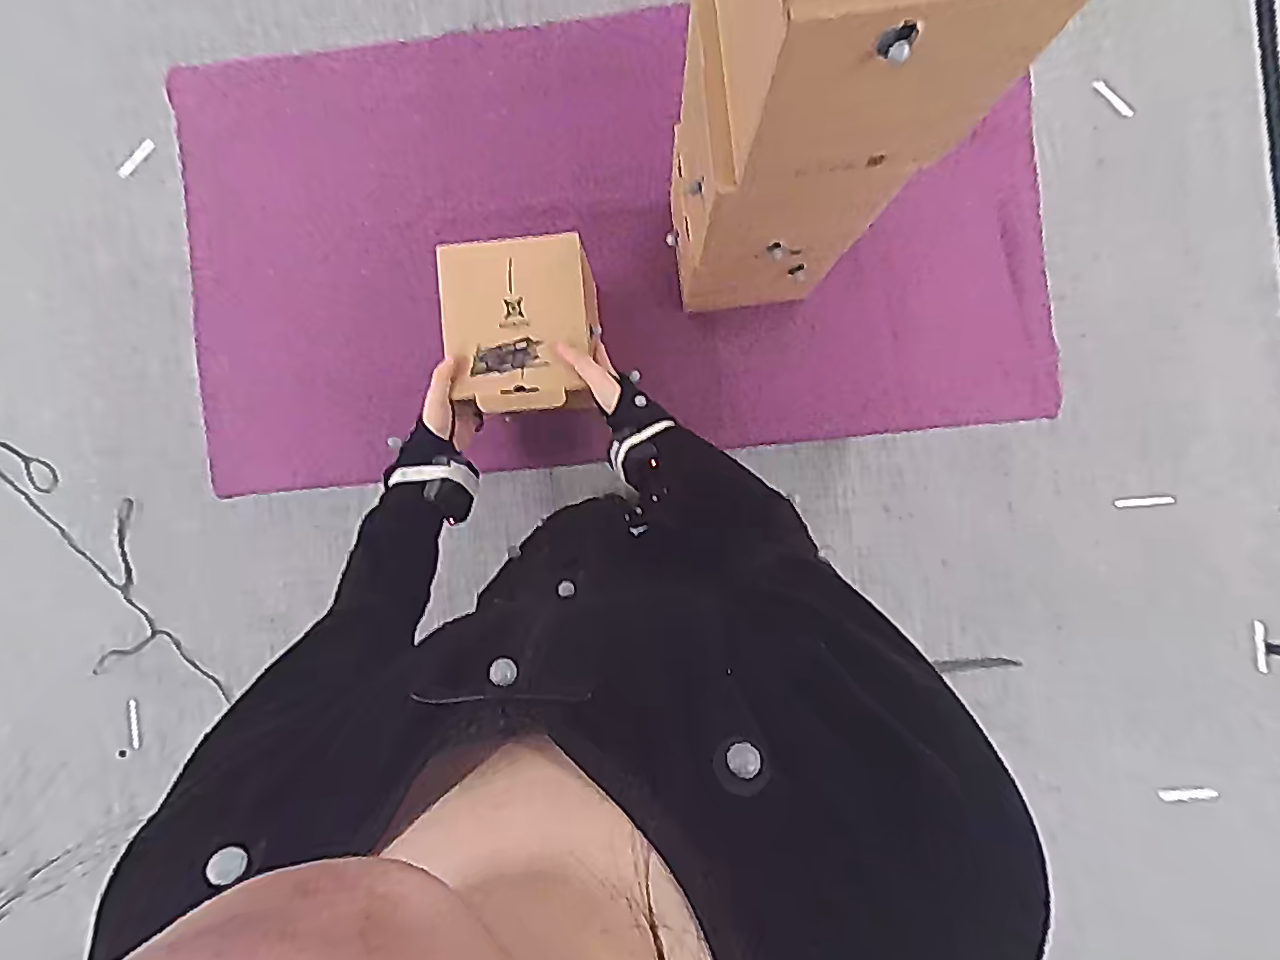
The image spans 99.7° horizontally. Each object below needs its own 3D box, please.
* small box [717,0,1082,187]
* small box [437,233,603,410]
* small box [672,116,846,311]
[{"bbox_3d":[0.147,-0.329,0.354,0.168,0.176,0.179,-7,89,2],"label":"small box"},{"bbox_3d":[-0.140,-0.186,0.690,0.168,0.176,0.179,-4,89,2],"label":"small box"},{"bbox_3d":[0.137,-0.327,0.681,0.179,0.176,0.168,-7,89,2],"label":"small box"}]
